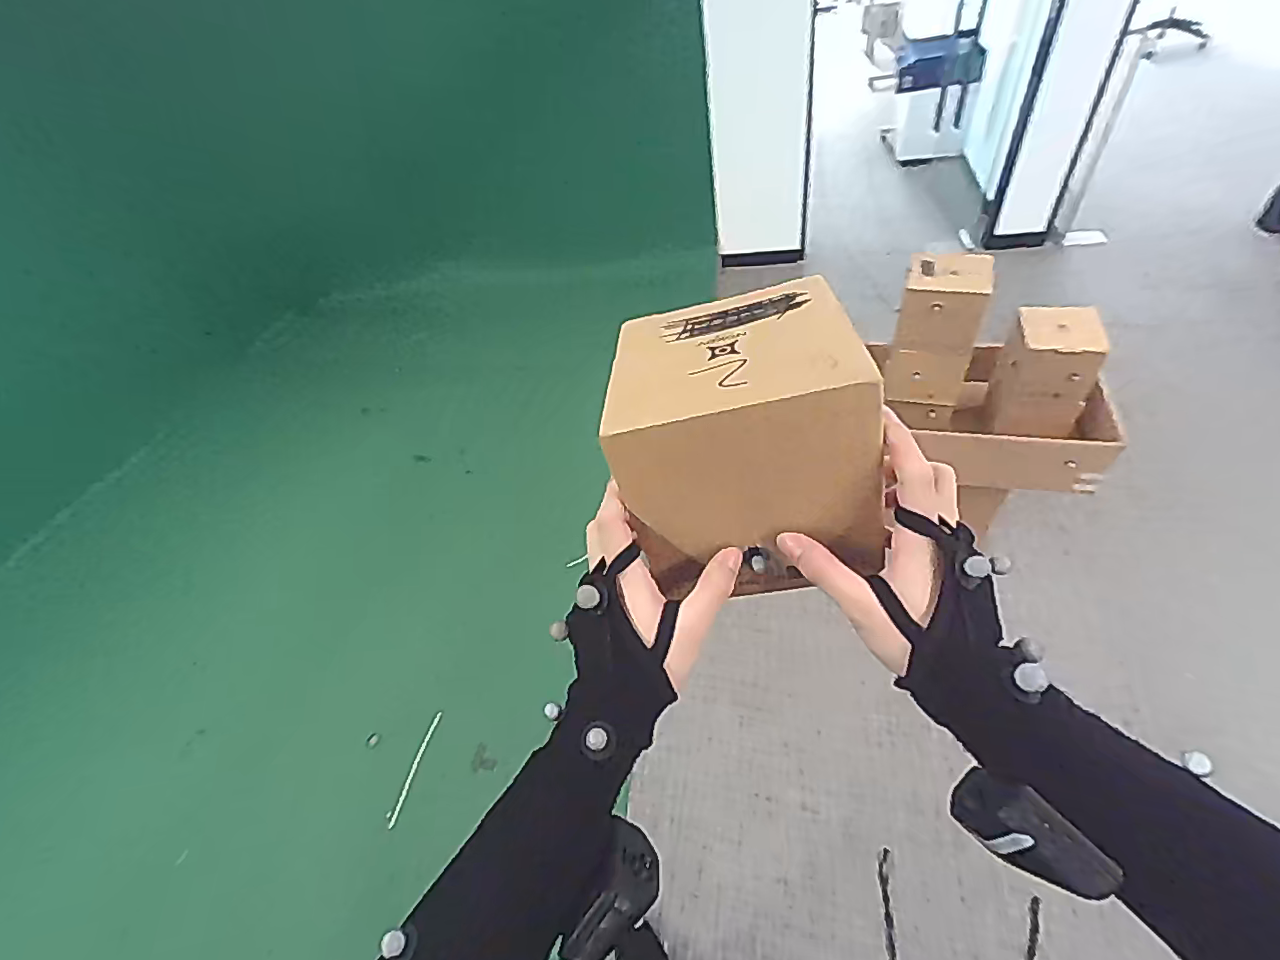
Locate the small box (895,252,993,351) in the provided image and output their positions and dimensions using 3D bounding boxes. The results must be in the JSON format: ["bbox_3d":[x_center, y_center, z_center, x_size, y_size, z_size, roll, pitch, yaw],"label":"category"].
[{"bbox_3d":[0.726,-0.429,1.304,0.179,0.176,0.168,12,53,21],"label":"small box"}]

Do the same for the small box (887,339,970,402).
[{"bbox_3d":[0.758,-0.325,1.427,0.168,0.176,0.179,9,52,20],"label":"small box"}]

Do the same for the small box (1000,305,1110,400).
[{"bbox_3d":[1.027,-0.318,1.355,0.168,0.176,0.179,7,51,18],"label":"small box"}]
